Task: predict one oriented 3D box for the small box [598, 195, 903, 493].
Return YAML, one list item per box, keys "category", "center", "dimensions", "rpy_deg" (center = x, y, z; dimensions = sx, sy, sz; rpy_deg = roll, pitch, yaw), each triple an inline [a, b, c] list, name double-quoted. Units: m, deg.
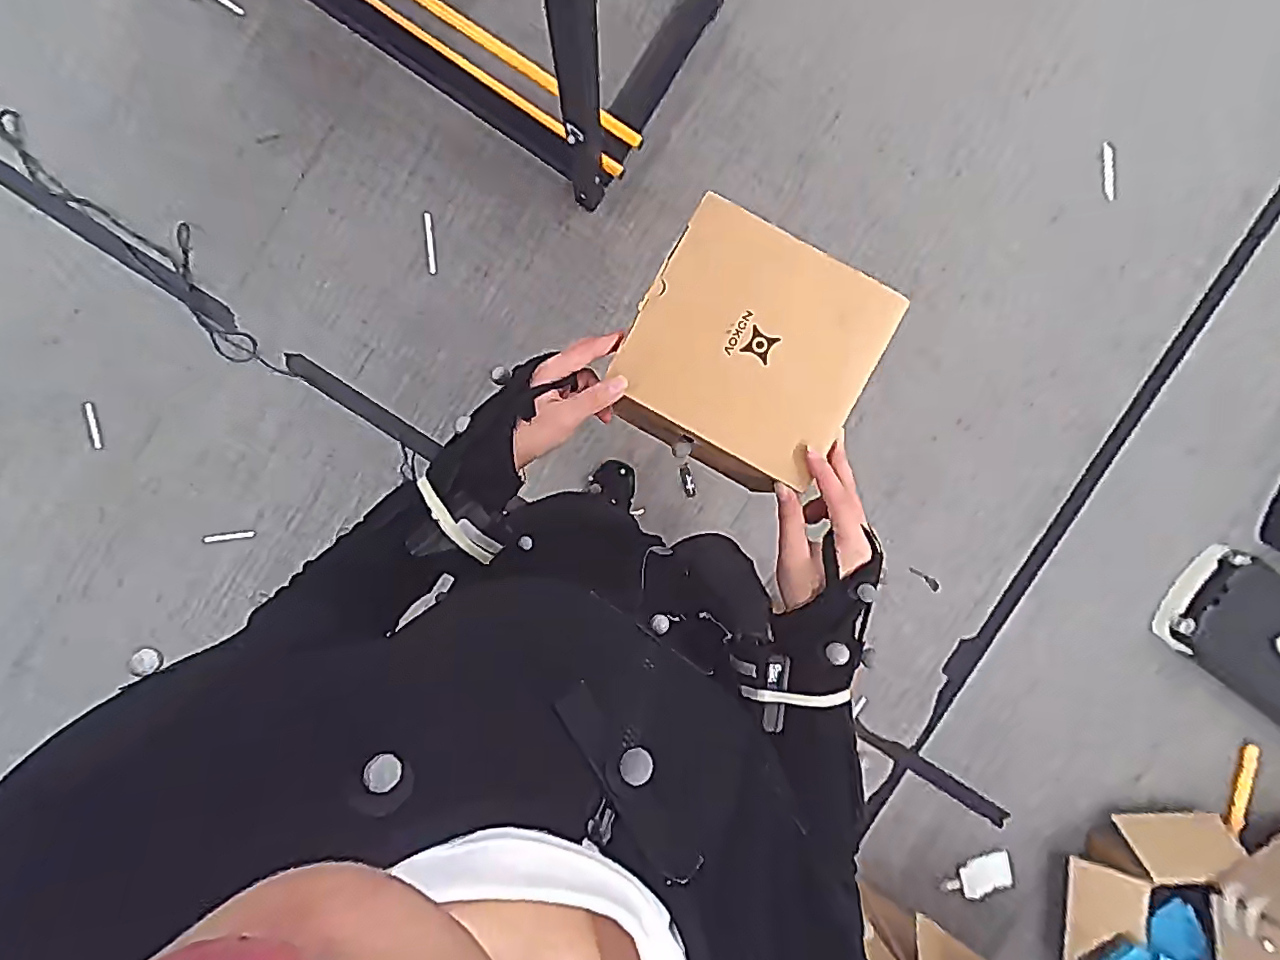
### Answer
- category: "small box"
  center: [0.083, -0.102, 0.480]
  dimensions: [0.179, 0.176, 0.168]
  rpy_deg: [29, 90, 1]
